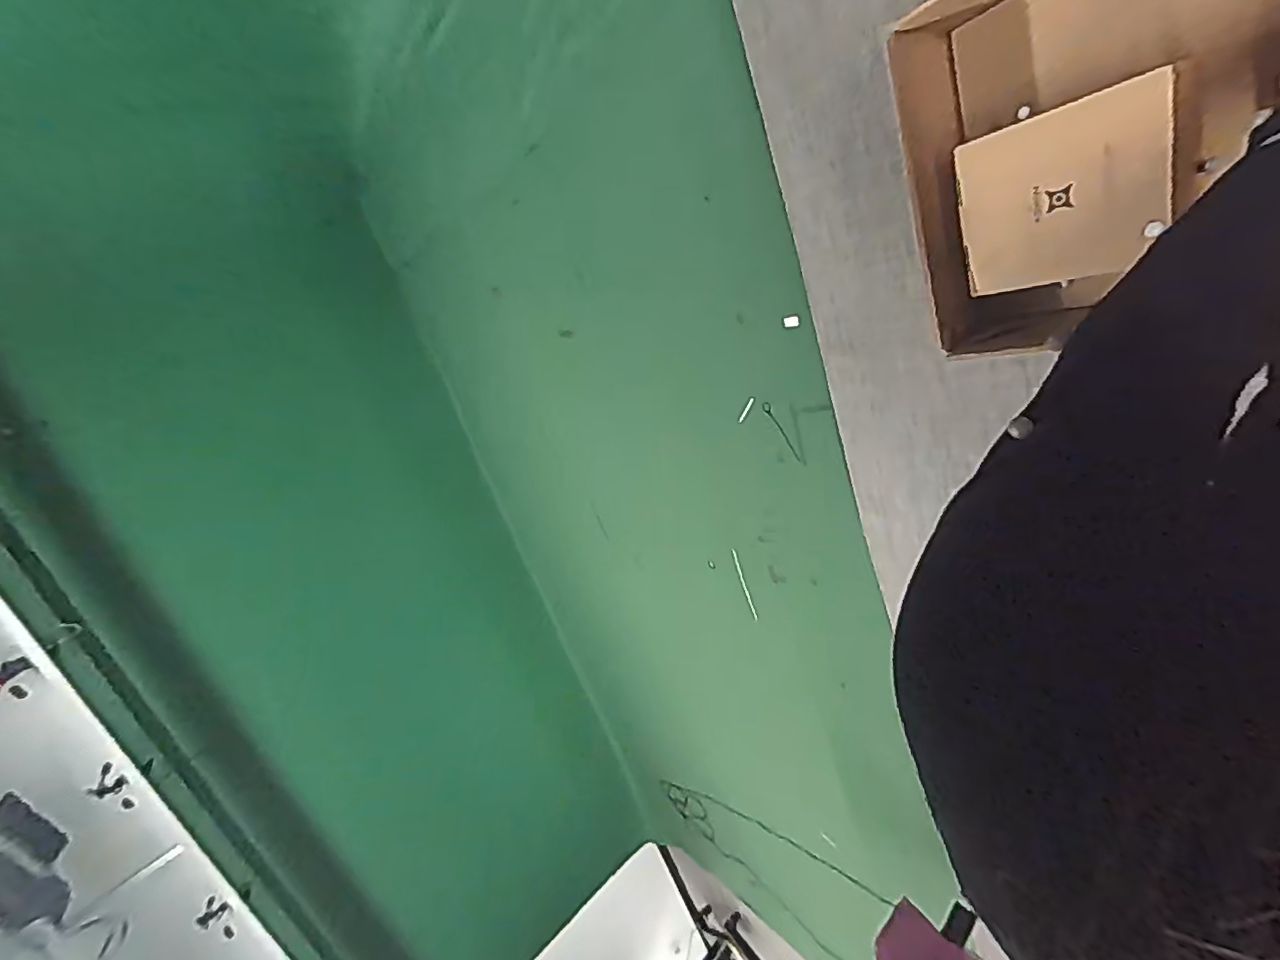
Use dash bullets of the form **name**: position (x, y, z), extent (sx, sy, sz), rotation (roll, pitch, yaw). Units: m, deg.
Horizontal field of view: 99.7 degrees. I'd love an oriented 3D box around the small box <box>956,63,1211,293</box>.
- **small box**: position (0.480, -0.320, 0.591), extent (0.179, 0.176, 0.168), rotation (7, 122, 52)
